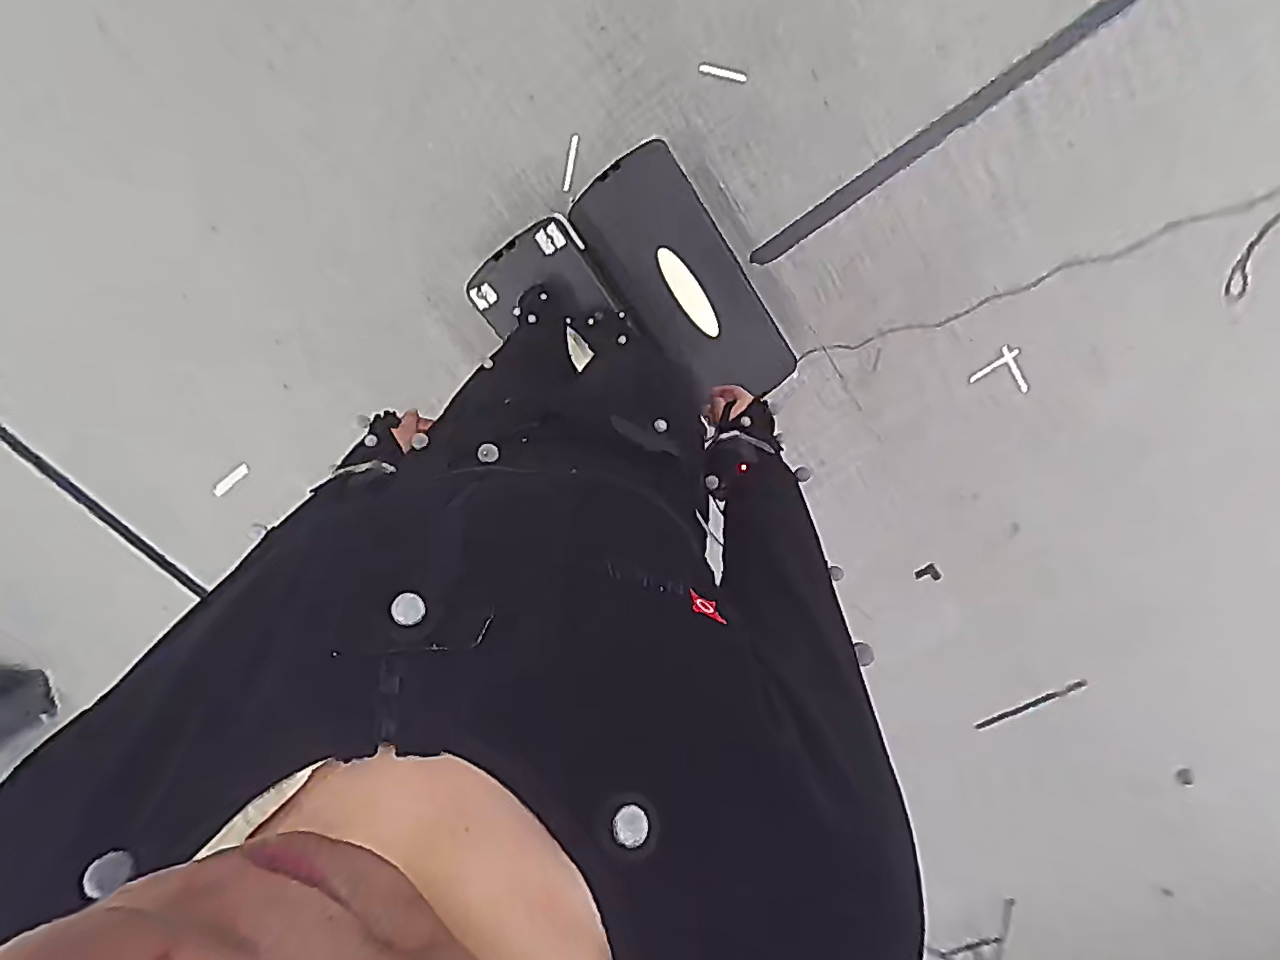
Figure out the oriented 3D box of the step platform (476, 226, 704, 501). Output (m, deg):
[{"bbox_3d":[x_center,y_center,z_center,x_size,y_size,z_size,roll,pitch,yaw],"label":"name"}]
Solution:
[{"bbox_3d":[-0.108,-0.279,1.393,0.286,0.204,0.684,-30,107,11],"label":"step platform"}]
